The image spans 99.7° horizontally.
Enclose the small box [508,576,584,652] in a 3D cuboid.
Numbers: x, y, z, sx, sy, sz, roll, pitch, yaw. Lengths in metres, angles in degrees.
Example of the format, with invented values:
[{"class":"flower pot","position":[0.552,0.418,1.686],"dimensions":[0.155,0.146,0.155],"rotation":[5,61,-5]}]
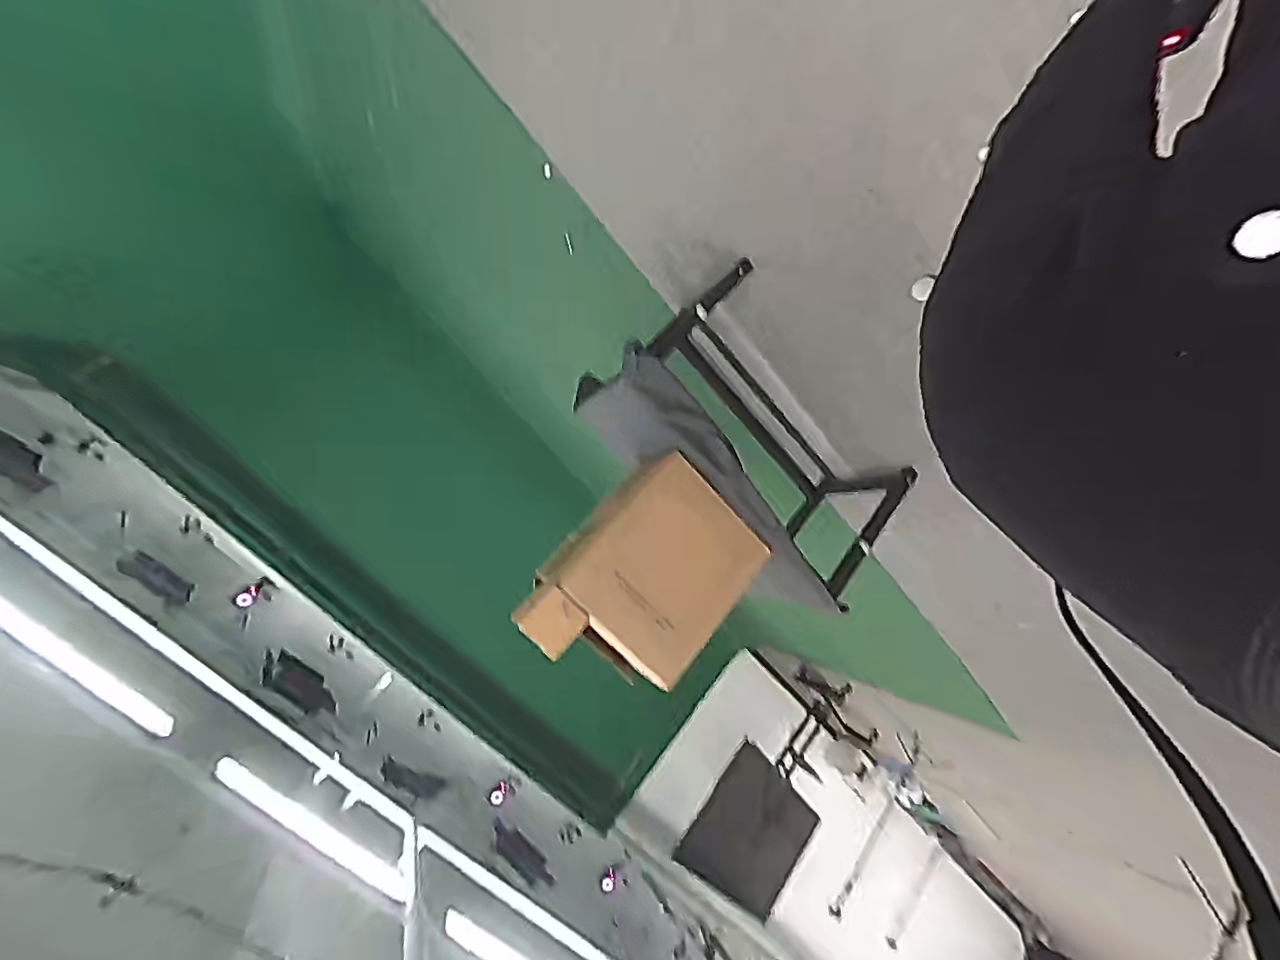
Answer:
[{"class":"small box","position":[-0.309,0.435,1.788],"dimensions":[0.168,0.176,0.179],"rotation":[47,160,-12]}]
